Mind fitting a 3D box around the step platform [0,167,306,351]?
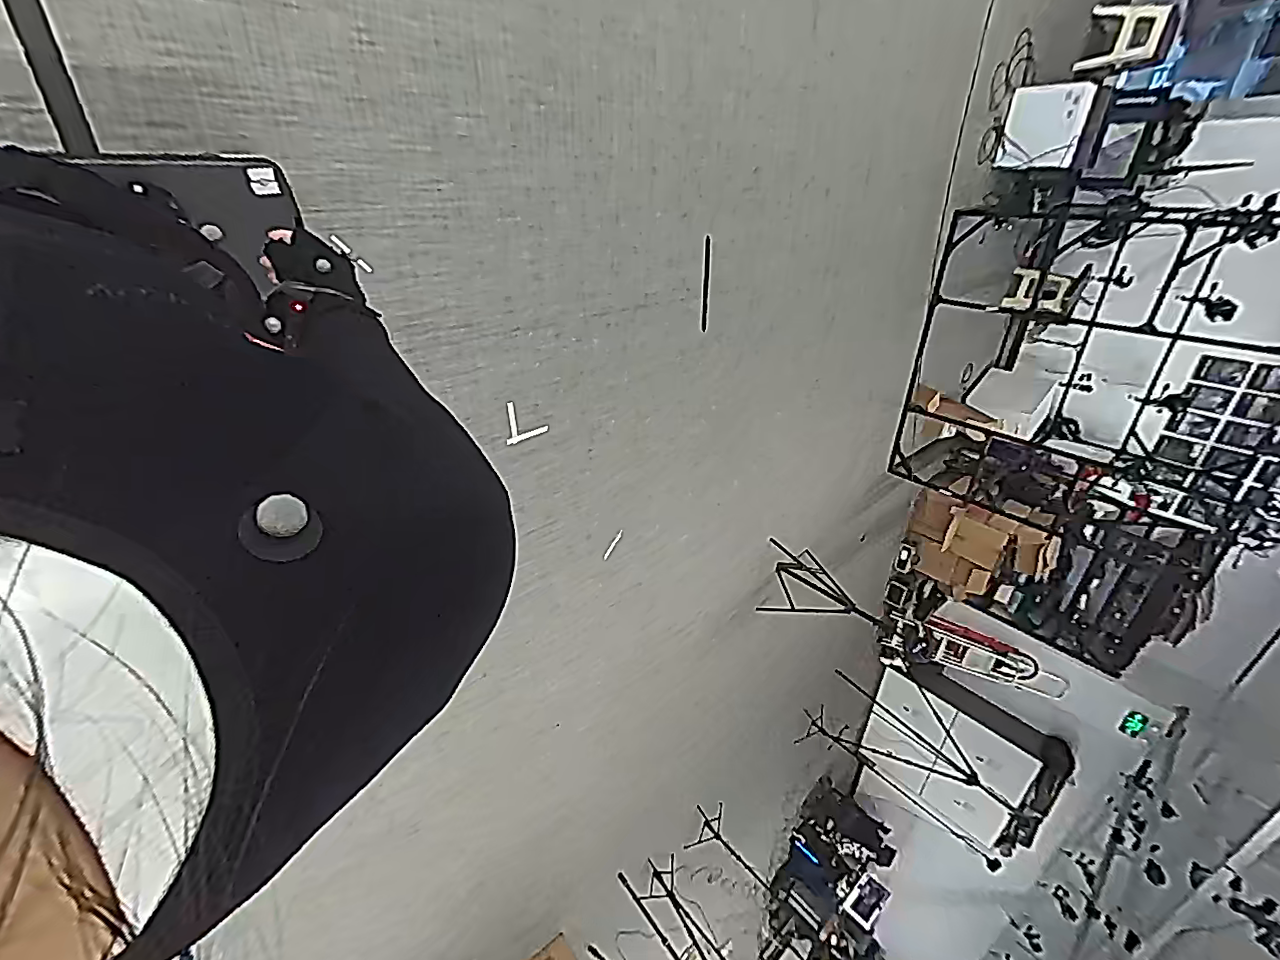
[{"bbox_3d":[-1.055,-0.442,1.051,0.684,0.204,0.286,-25,129,-36],"label":"step platform"}]
